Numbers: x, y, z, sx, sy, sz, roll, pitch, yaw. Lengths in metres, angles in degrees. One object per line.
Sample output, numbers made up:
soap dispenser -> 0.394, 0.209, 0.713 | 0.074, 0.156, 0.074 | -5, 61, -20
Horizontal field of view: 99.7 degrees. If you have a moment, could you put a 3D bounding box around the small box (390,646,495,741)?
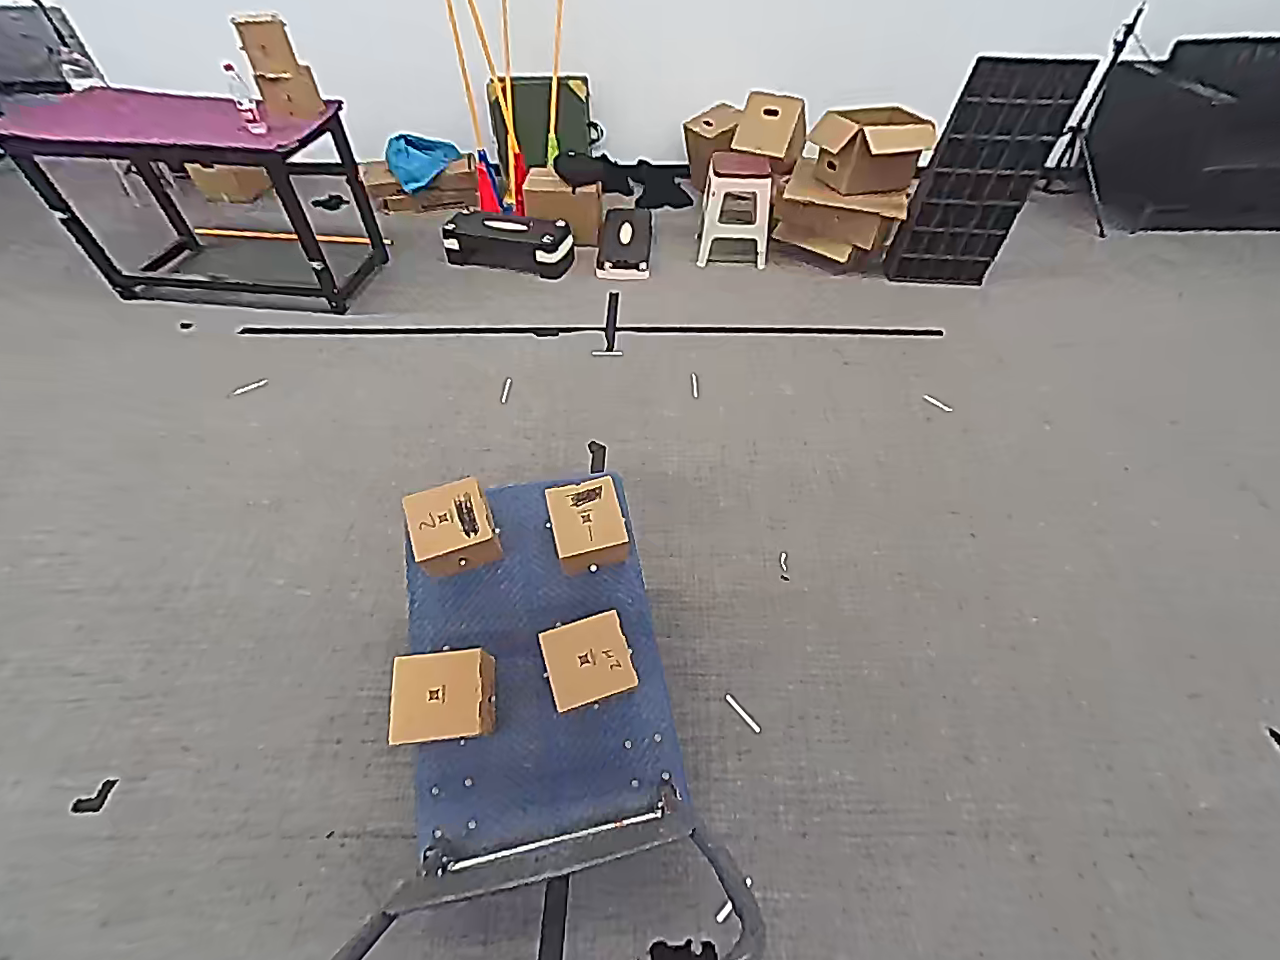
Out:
small box -> -0.413, 0.461, 1.159 | 0.179, 0.176, 0.168 | -4, 66, -8

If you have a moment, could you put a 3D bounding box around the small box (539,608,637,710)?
small box -> -0.114, 0.405, 1.206 | 0.179, 0.176, 0.168 | -15, 68, -11

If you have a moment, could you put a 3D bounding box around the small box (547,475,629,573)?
small box -> -0.130, 0.113, 1.339 | 0.168, 0.176, 0.179 | -13, 68, -10
